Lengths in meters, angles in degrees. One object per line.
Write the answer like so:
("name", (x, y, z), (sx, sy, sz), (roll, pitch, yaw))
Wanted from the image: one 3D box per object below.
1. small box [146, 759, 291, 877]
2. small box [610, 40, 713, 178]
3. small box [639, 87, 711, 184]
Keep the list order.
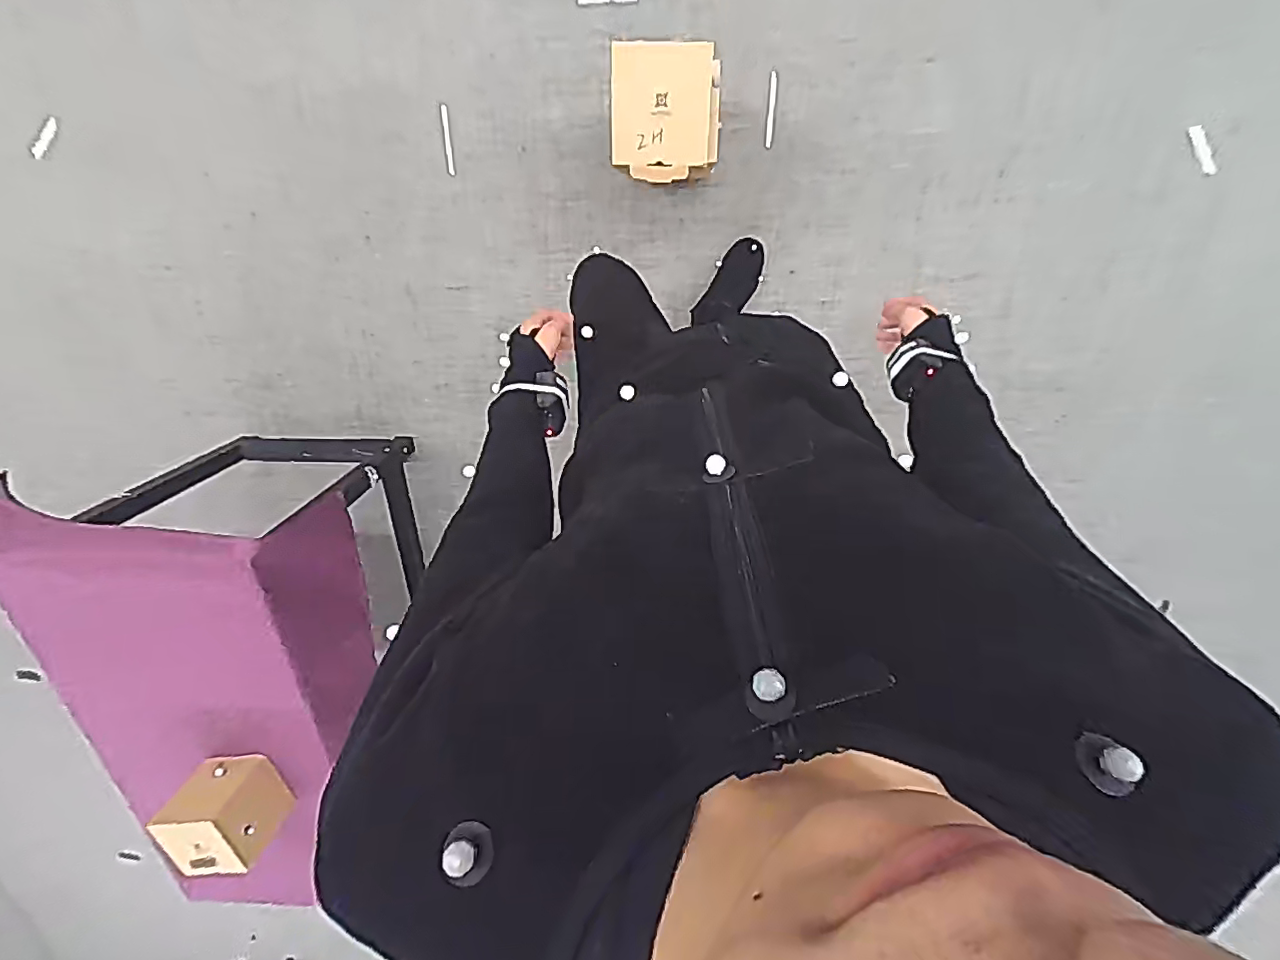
("small box", (-0.963, 0.782, 1.256), (0.168, 0.176, 0.179), (-9, 114, 8))
("small box", (0.035, -0.647, 0.961), (0.168, 0.176, 0.179), (3, 115, 2))
("small box", (0.080, -0.793, 1.255), (0.168, 0.176, 0.179), (-2, 114, 5))
